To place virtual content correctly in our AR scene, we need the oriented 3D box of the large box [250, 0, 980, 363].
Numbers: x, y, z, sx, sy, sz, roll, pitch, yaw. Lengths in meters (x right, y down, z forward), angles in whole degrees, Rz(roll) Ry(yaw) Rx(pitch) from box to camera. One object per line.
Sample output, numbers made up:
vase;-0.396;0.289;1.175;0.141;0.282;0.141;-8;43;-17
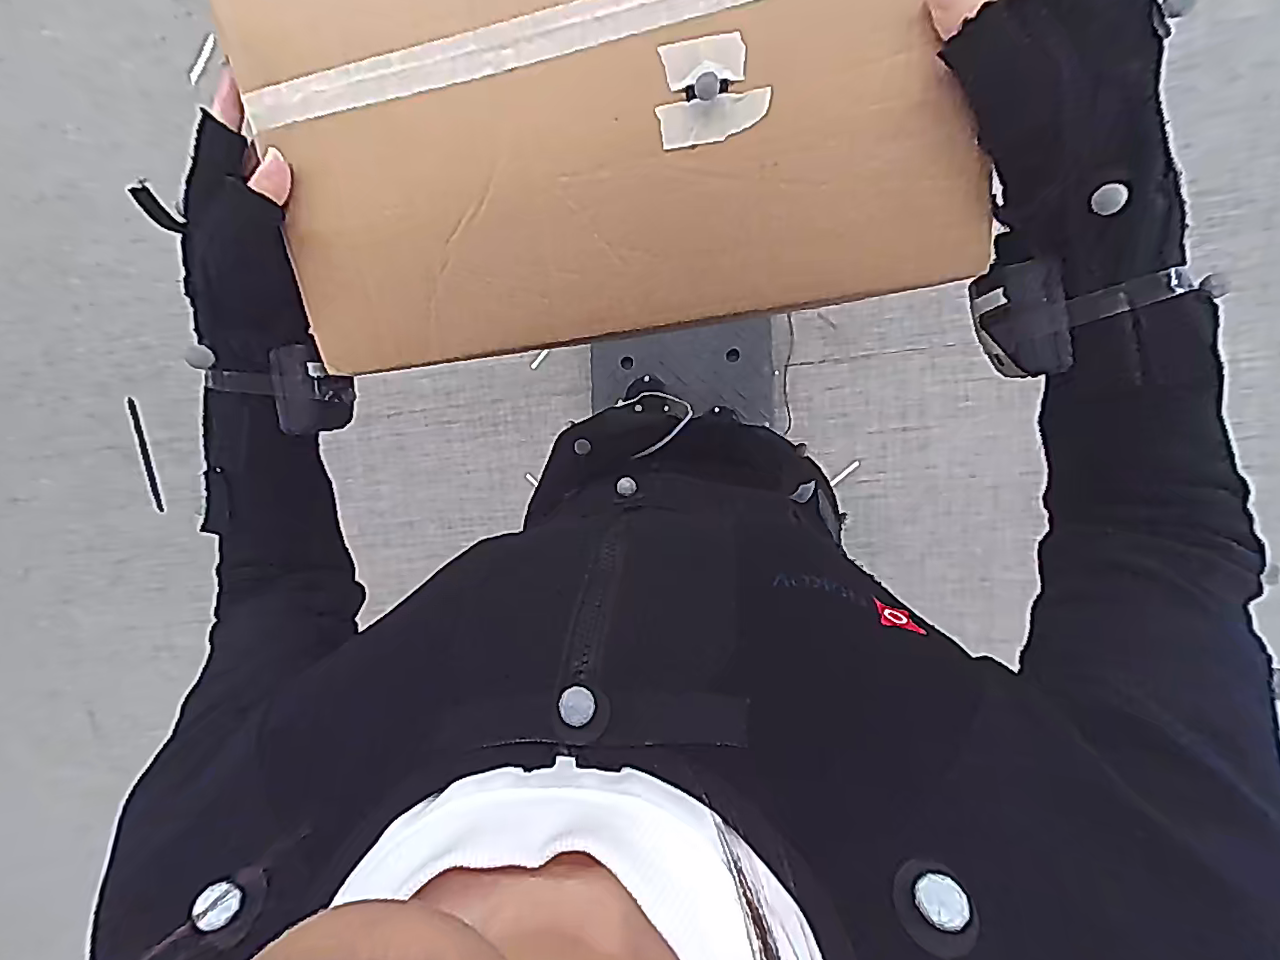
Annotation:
large box;-0.010;-0.290;0.441;0.408;0.320;0.320;-7;106;10
